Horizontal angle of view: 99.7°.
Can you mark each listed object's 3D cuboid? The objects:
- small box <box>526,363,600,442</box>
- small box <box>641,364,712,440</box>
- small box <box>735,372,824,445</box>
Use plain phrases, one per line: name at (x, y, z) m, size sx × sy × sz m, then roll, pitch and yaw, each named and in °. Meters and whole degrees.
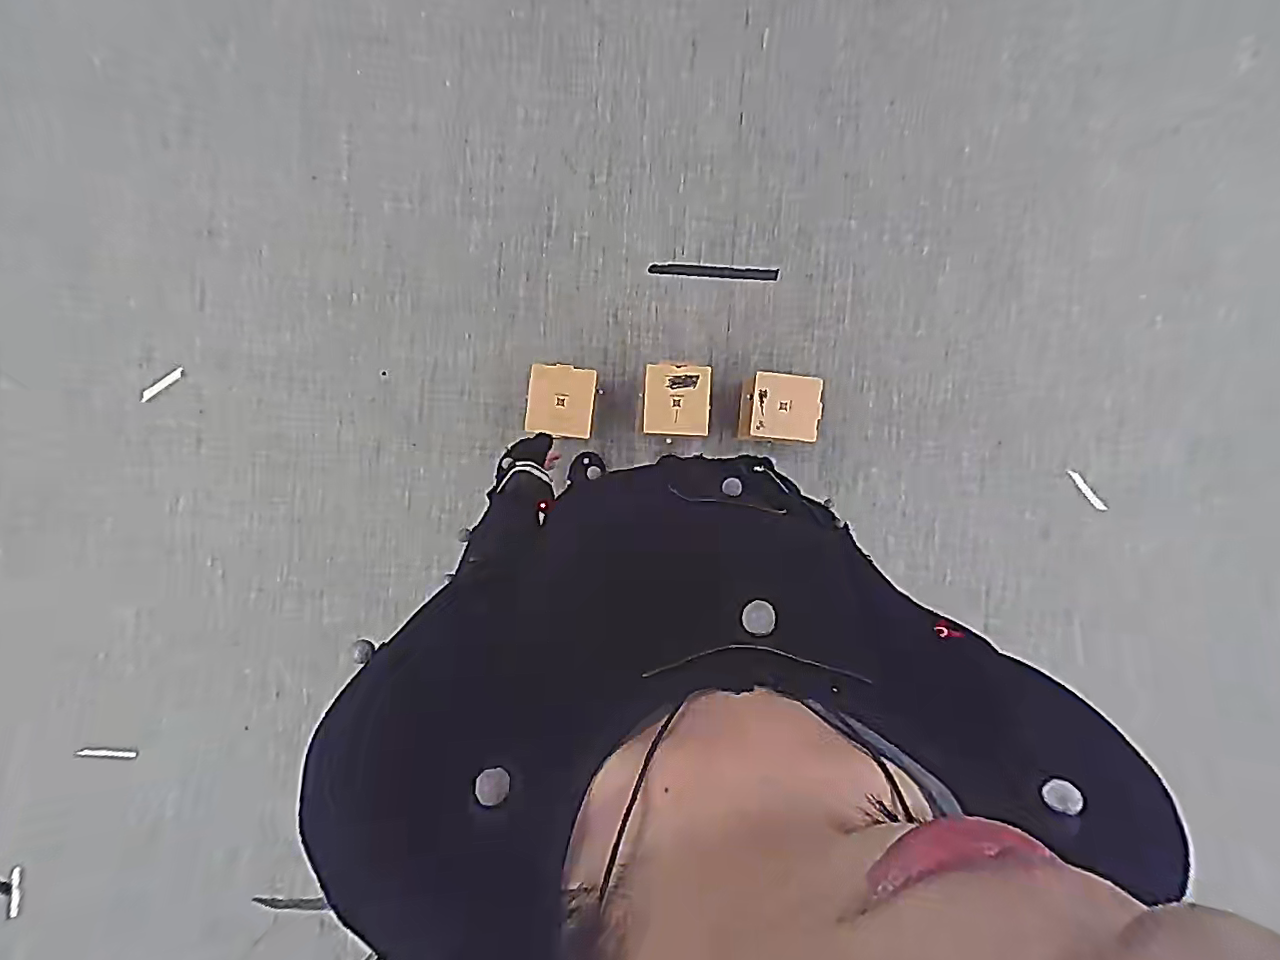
small box at (-0.197, -0.199, 1.423) m, size 0.168 × 0.176 × 0.179 m, roll 6°, pitch 92°, yaw -1°
small box at (0.091, -0.201, 1.431) m, size 0.168 × 0.176 × 0.179 m, roll 3°, pitch 92°, yaw -2°
small box at (0.366, -0.184, 1.445) m, size 0.179 × 0.176 × 0.168 m, roll 6°, pitch 91°, yaw -3°
